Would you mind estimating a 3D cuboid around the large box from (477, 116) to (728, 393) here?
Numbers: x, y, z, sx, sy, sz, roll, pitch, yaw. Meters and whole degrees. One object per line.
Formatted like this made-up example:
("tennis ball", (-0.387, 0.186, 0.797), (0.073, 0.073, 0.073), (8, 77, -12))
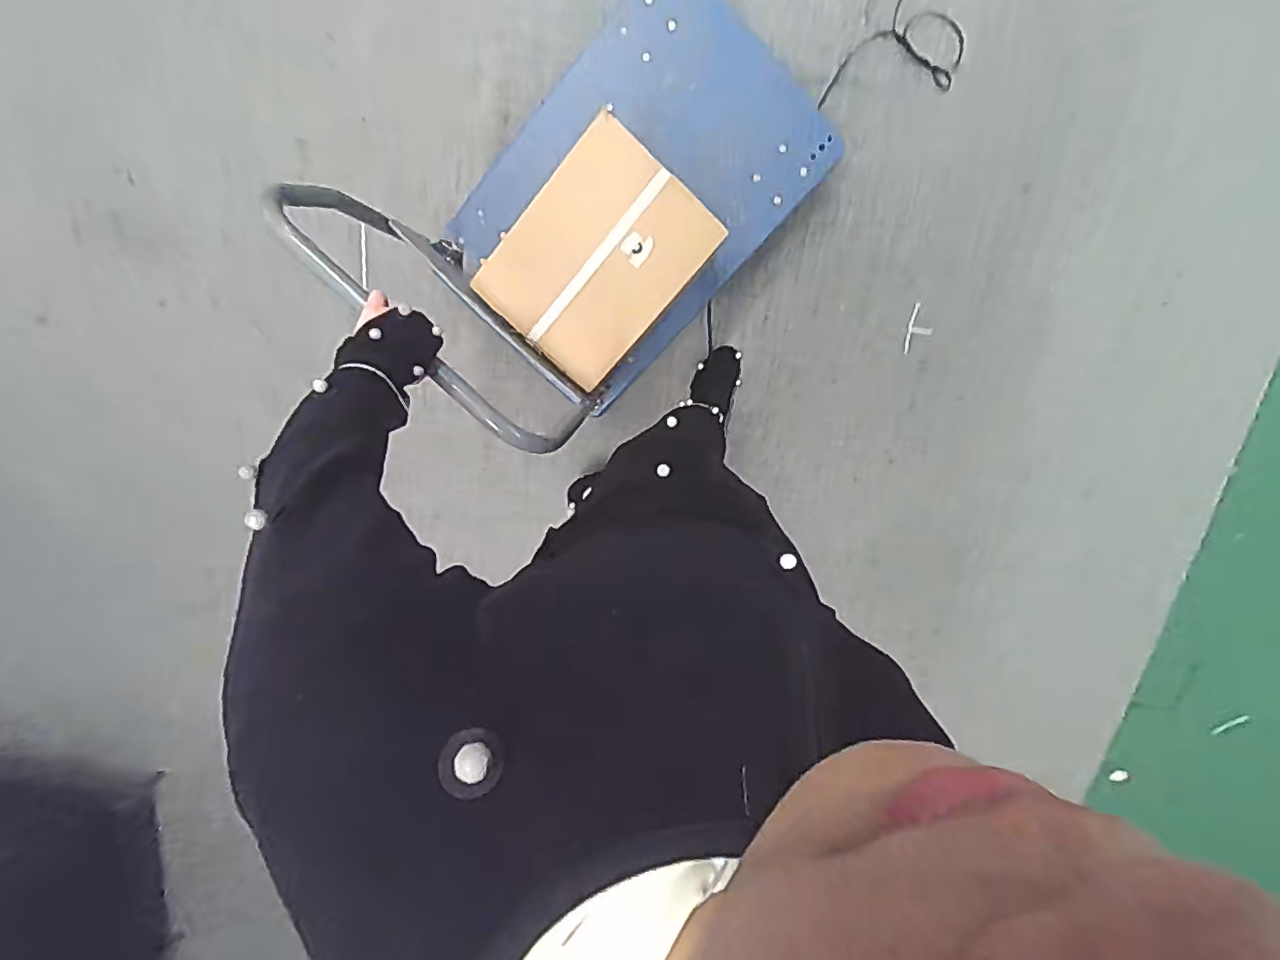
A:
("large box", (-0.073, -0.445, 1.167), (0.320, 0.320, 0.408), (42, 101, -9))
